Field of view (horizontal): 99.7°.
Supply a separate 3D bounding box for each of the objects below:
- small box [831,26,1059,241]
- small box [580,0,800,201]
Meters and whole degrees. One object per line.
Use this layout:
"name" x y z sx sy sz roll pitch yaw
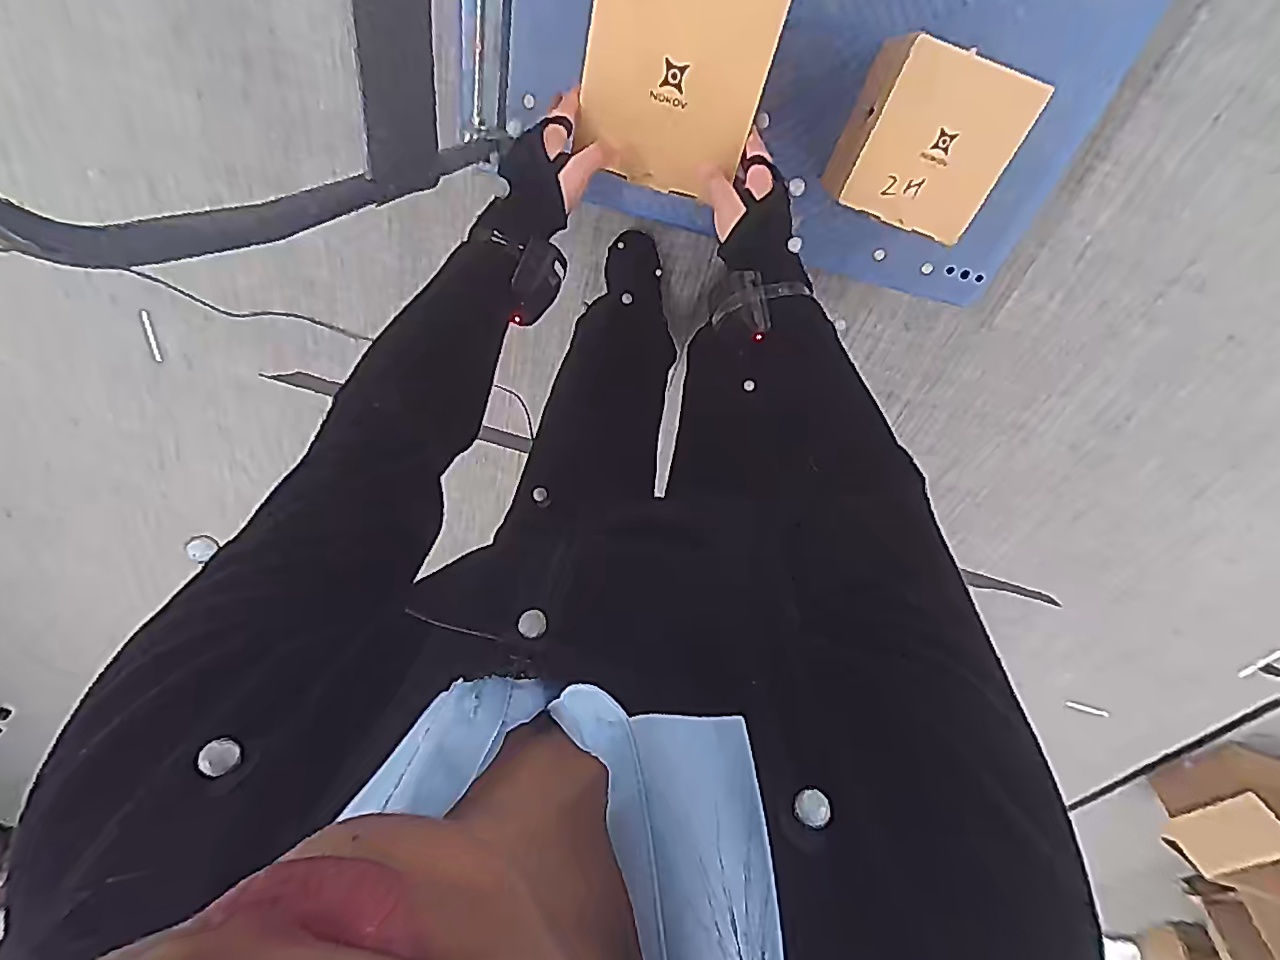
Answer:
"small box" 0.365 -0.440 0.693 0.168 0.176 0.179 18 127 -4
"small box" 0.045 -0.413 0.552 0.168 0.176 0.179 14 126 -3
